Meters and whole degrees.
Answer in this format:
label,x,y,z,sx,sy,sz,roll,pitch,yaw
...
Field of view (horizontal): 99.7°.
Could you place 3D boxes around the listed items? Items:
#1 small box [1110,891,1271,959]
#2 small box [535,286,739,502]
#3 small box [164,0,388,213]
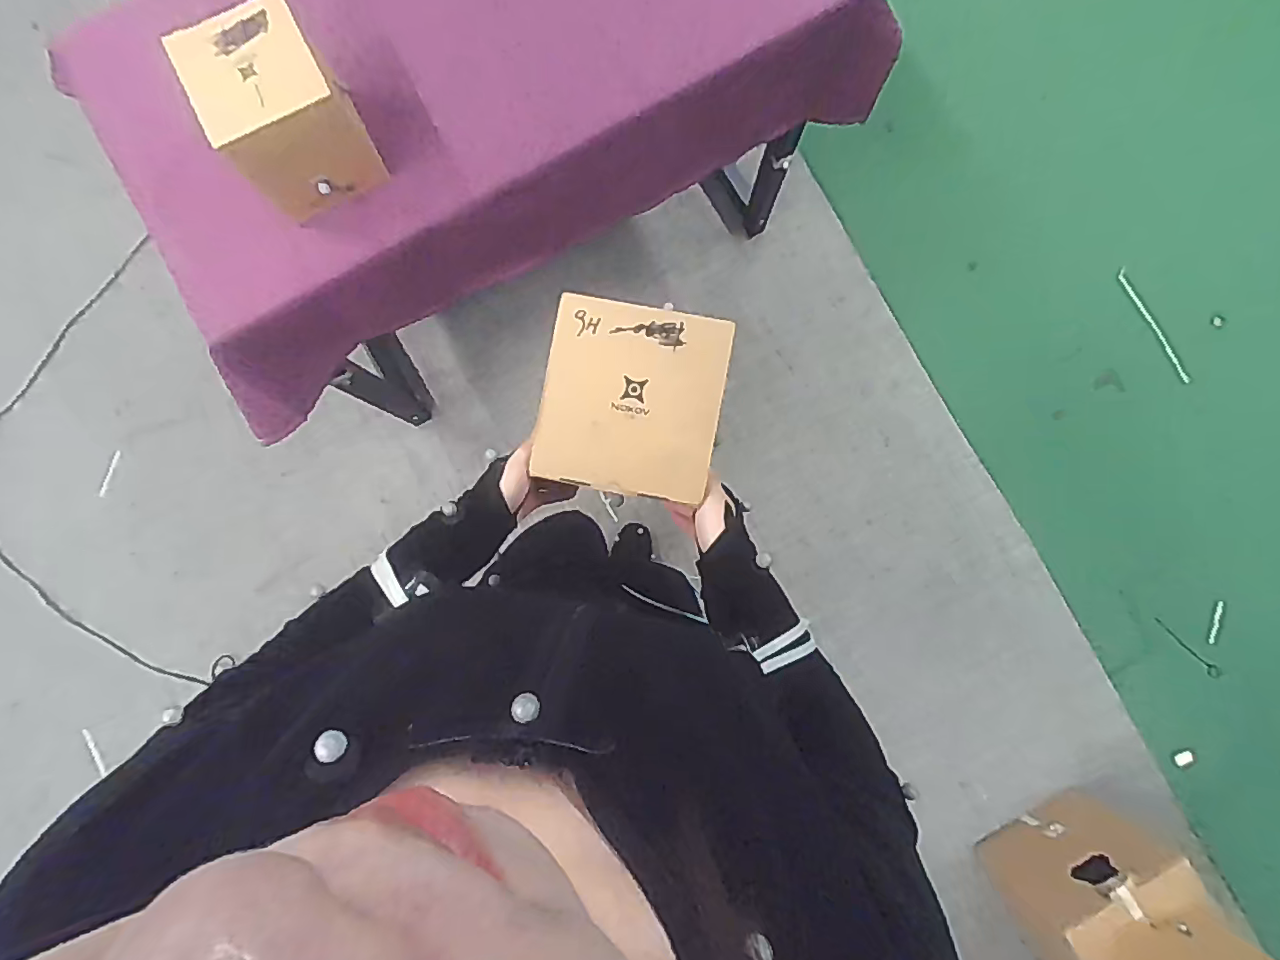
label,x,y,z,sx,sy,sz,roll,pitch,yaw
small box,1.083,0.961,1.051,0.168,0.176,0.179,-17,85,-2
small box,0.000,-0.081,0.580,0.168,0.176,0.179,11,91,1
small box,-0.495,-0.524,0.763,0.168,0.176,0.179,-27,86,-2
